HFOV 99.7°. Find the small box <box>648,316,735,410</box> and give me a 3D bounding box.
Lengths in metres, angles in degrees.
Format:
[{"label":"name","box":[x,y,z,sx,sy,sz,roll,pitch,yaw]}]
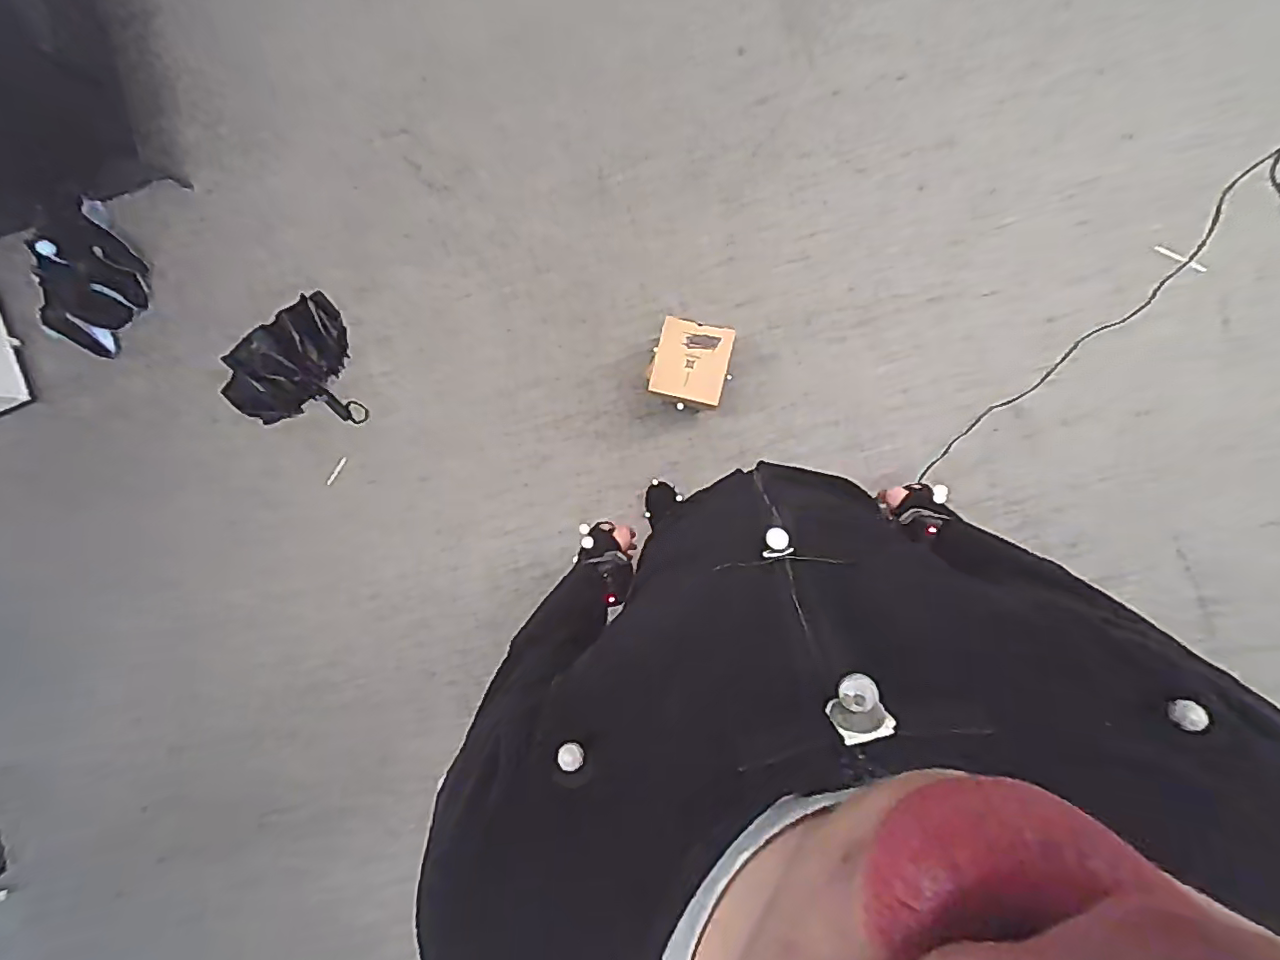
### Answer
[{"label":"small box","box":[0.124,-0.276,1.311,0.168,0.176,0.179,14,95,6]}]
